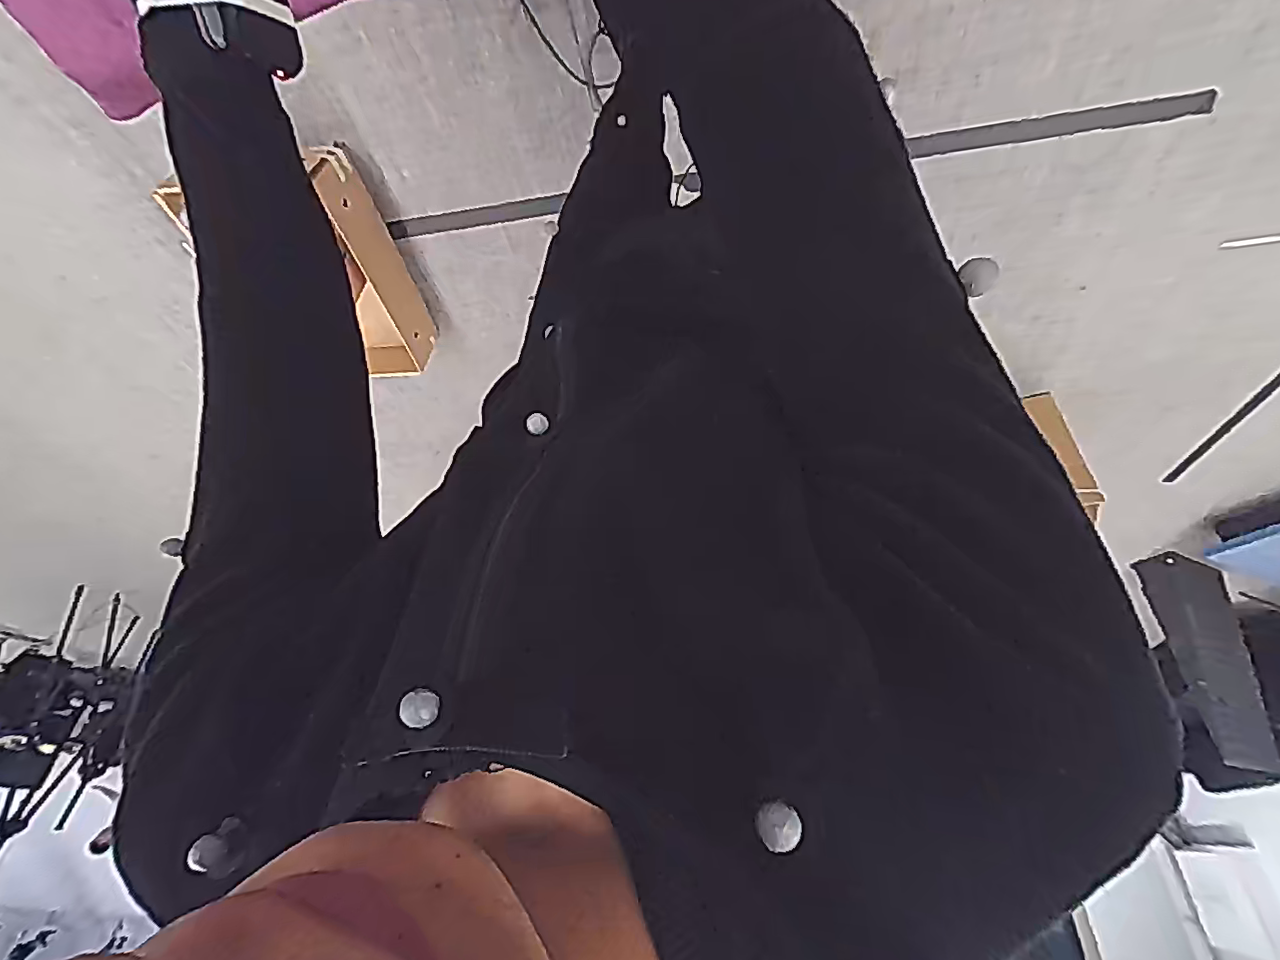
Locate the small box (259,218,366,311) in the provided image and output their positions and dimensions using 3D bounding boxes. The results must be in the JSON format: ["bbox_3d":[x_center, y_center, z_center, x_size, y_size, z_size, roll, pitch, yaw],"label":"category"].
[{"bbox_3d":[-0.857,-0.575,1.441,0.179,0.176,0.168,3,147,-1],"label":"small box"}]
